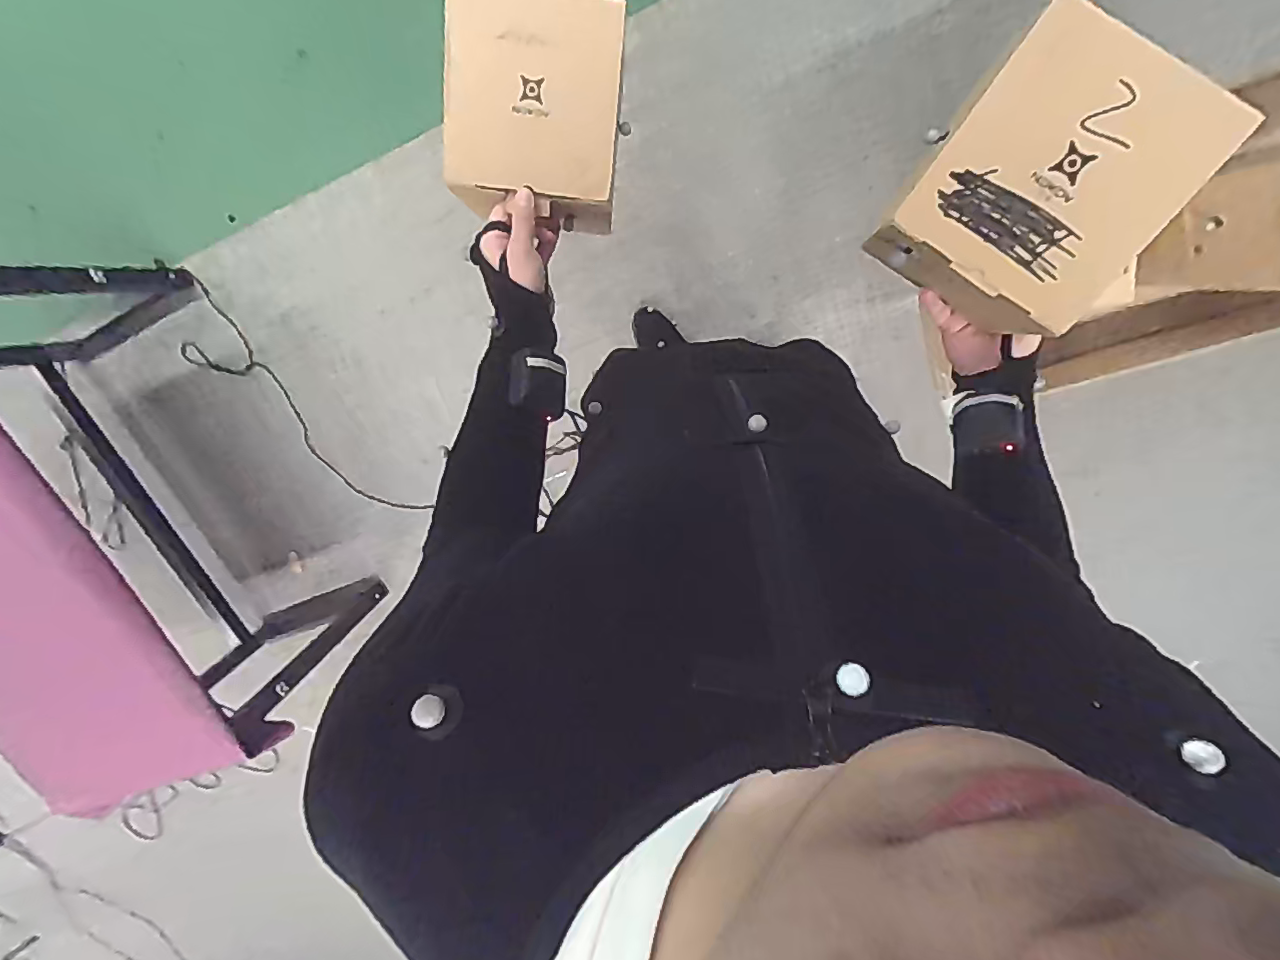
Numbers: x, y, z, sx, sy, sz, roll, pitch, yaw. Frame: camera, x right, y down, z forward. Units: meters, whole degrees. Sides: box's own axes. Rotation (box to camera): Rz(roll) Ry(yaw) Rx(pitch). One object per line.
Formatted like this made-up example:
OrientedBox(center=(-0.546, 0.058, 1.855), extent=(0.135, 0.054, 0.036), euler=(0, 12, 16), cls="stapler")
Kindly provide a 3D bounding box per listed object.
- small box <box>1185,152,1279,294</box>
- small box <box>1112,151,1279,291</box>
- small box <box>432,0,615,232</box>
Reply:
OrientedBox(center=(0.921, -0.371, 0.747), extent=(0.179, 0.176, 0.168), euler=(-16, 107, 13), cls="small box")
OrientedBox(center=(0.943, -0.425, 0.898), extent=(0.179, 0.176, 0.168), euler=(-16, 106, 13), cls="small box")
OrientedBox(center=(-0.116, -0.385, 0.590), extent=(0.168, 0.176, 0.179), euler=(5, 103, -5), cls="small box")
